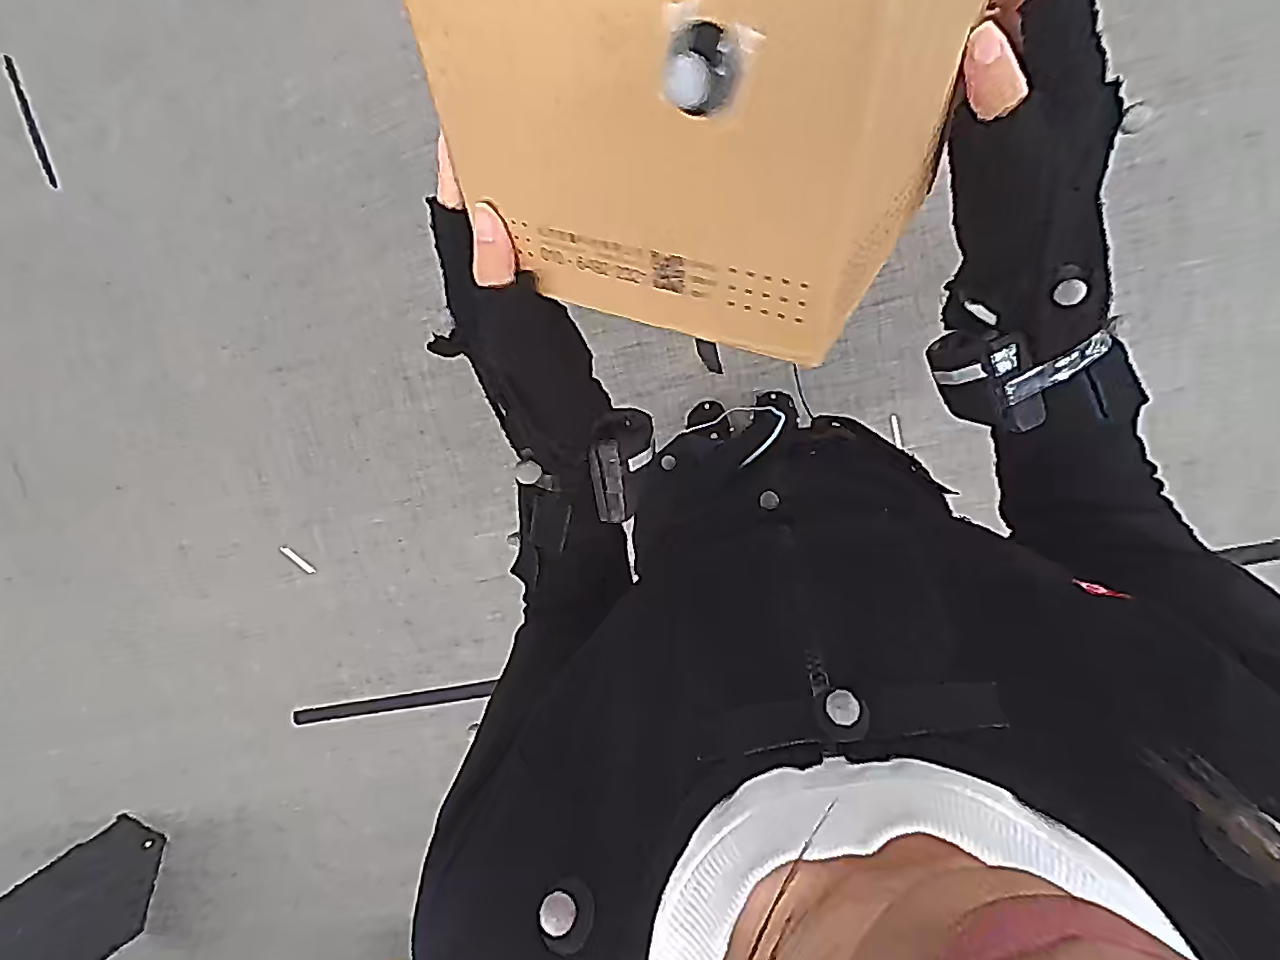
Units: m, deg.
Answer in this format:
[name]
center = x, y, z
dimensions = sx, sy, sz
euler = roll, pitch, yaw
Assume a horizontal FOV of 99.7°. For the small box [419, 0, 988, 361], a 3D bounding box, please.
[small box]
center = 0.035, -0.175, 0.221
dimensions = 0.168, 0.179, 0.176
euler = 25, 145, 26
